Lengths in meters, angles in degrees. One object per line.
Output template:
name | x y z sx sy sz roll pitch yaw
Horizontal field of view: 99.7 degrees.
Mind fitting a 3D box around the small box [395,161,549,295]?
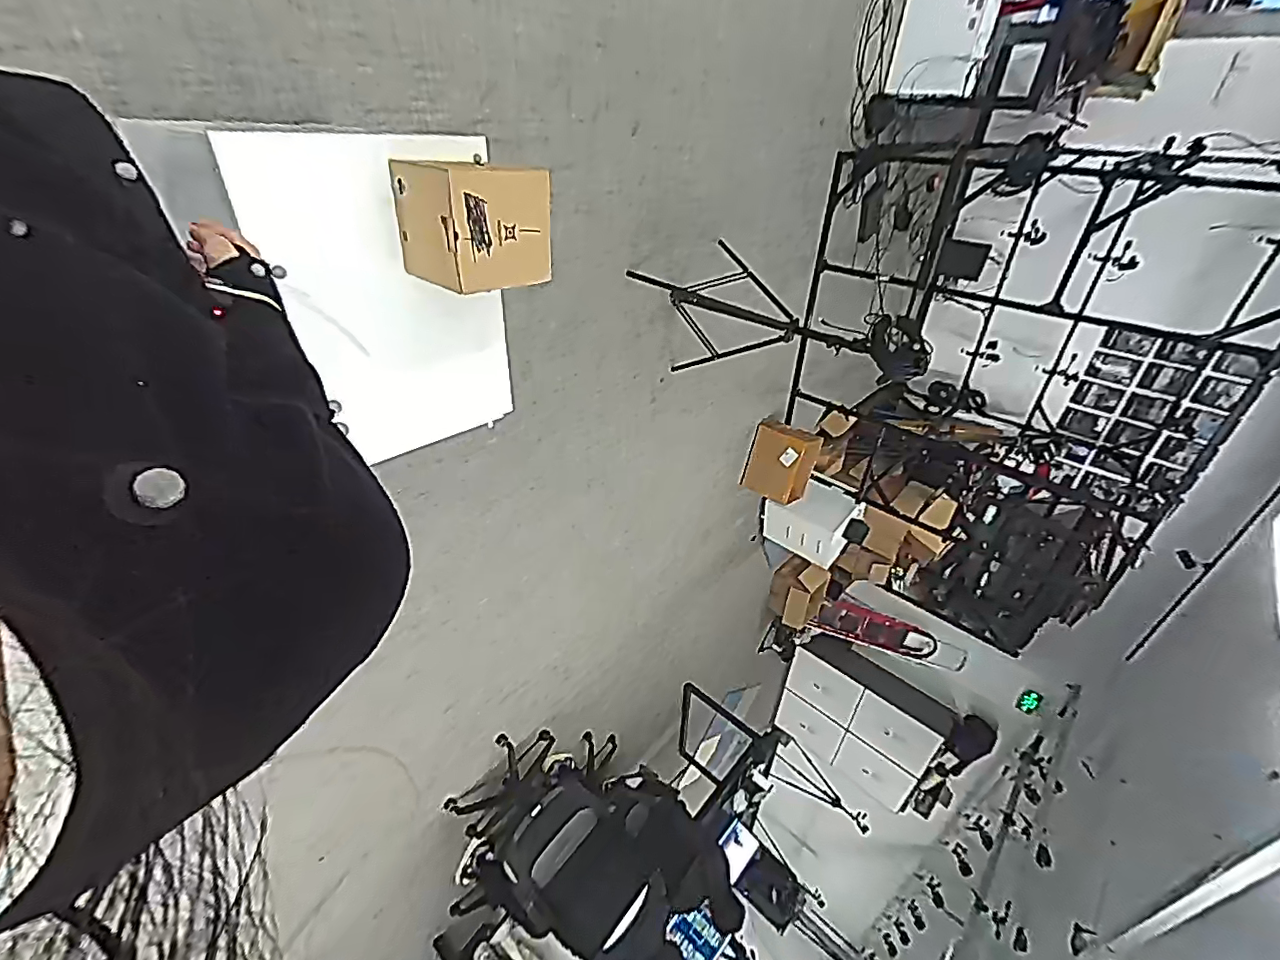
small box | -0.267 -0.405 0.862 0.179 0.176 0.168 -29 135 -41
